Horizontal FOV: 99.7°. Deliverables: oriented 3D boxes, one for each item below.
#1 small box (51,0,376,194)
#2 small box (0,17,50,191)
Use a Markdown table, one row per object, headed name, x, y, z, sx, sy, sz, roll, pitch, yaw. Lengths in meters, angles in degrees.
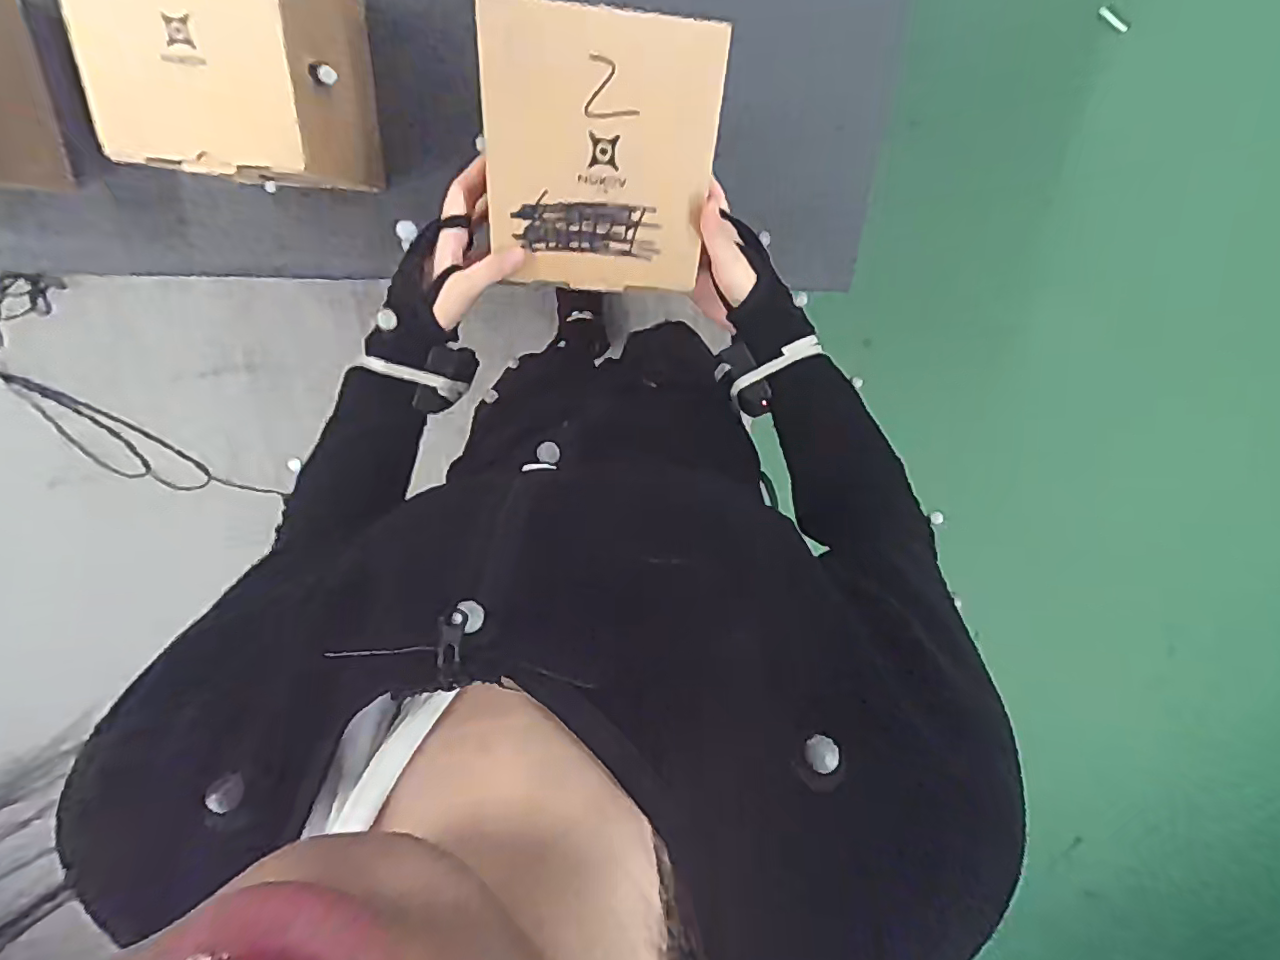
| name | x | y | z | sx | sy | sz | roll | pitch | yaw |
| --- | --- | --- | --- | --- | --- | --- | --- | --- | --- |
| small box | -0.357 | -0.368 | 0.483 | 0.168 | 0.176 | 0.179 | 2 | 113 | -5 |
| small box | -0.689 | -0.361 | 0.462 | 0.168 | 0.176 | 0.179 | 3 | 113 | -5 |
